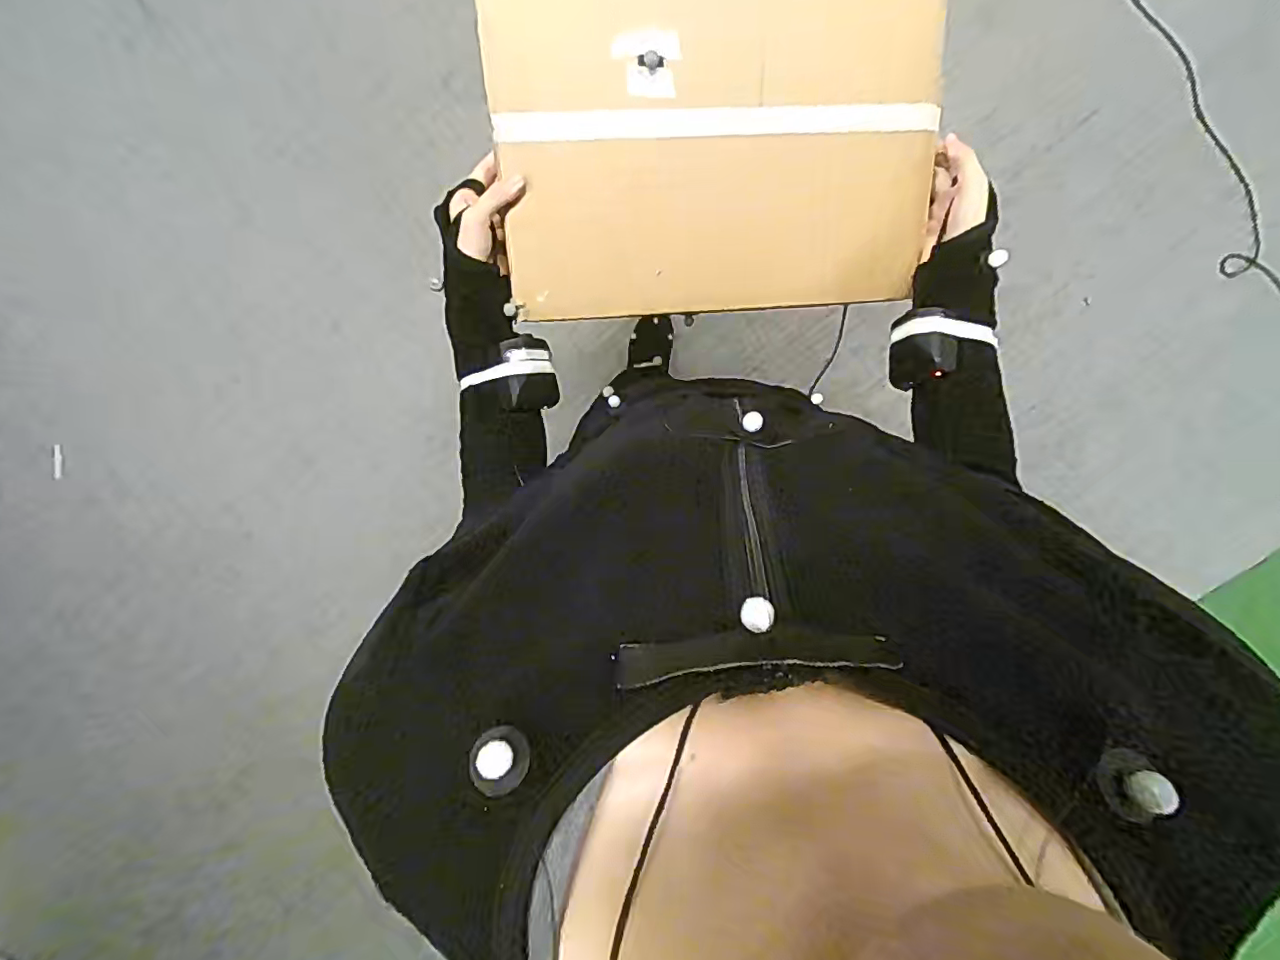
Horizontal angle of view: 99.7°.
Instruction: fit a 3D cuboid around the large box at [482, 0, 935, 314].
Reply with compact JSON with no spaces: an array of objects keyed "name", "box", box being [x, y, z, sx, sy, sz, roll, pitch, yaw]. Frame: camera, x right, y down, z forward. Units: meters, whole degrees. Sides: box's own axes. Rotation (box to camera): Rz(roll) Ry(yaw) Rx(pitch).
[{"name":"large box","box":[0.055,-0.370,0.634,0.408,0.320,0.320,-5,108,-6]}]
